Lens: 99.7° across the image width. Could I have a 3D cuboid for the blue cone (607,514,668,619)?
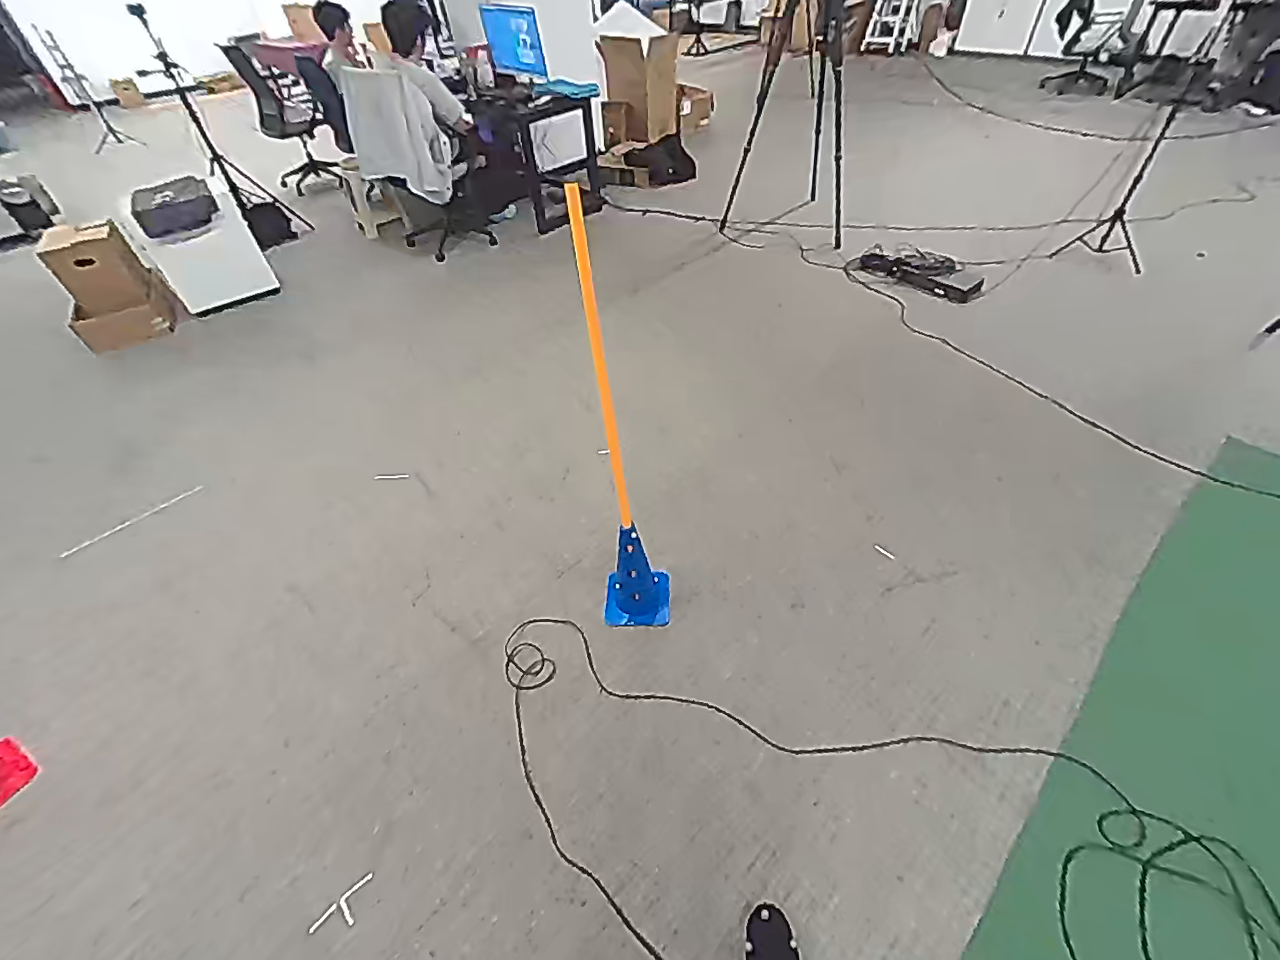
[{"bbox_3d":[-0.021,0.241,1.601,0.192,0.380,0.193,-3,43,3],"label":"blue cone"}]
